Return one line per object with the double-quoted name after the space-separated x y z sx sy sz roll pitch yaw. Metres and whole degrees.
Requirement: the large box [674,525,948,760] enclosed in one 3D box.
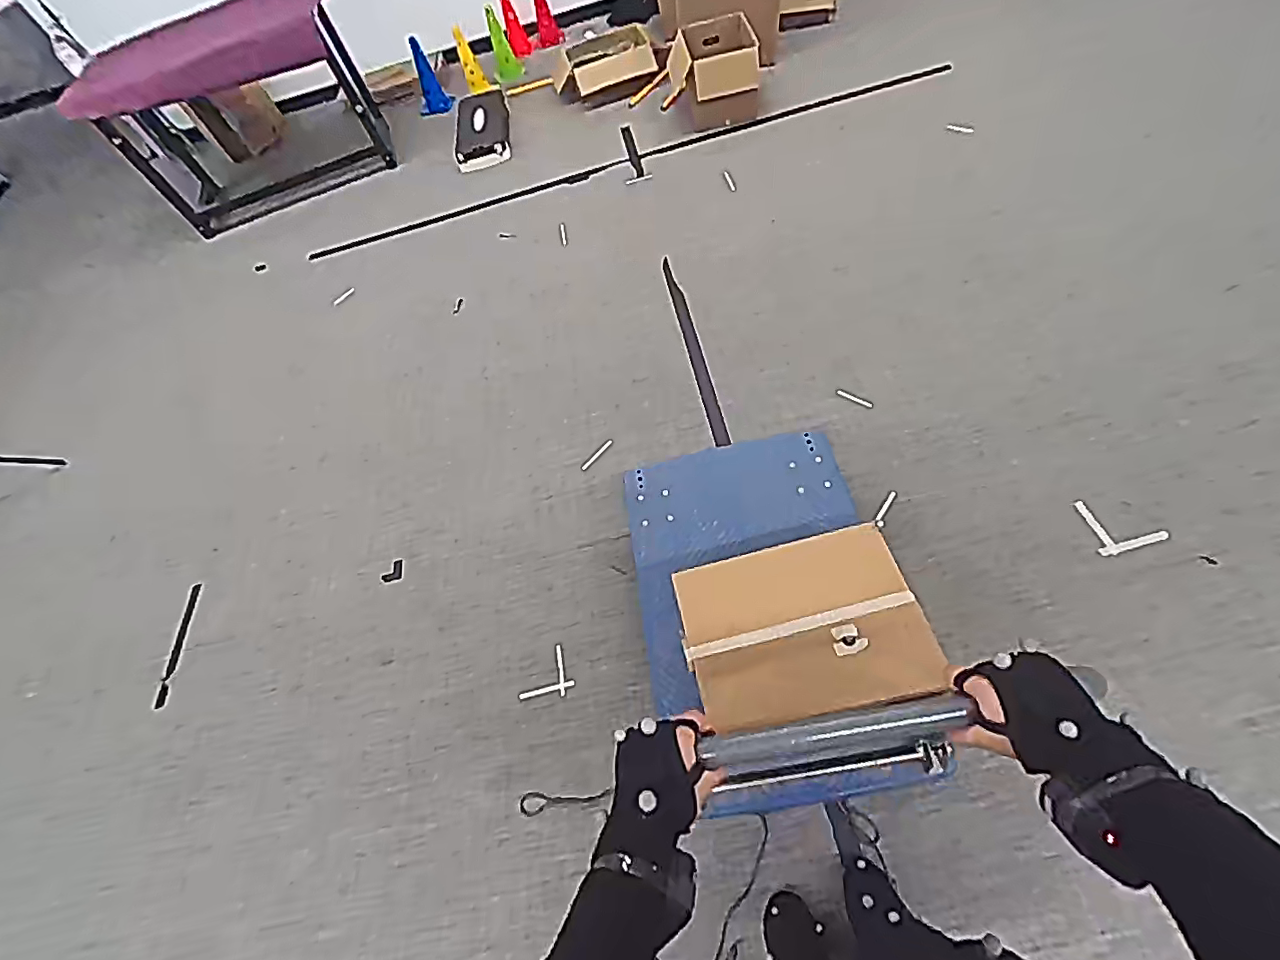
0.310 0.340 1.094 0.408 0.320 0.320 -15 58 2 "large box"
